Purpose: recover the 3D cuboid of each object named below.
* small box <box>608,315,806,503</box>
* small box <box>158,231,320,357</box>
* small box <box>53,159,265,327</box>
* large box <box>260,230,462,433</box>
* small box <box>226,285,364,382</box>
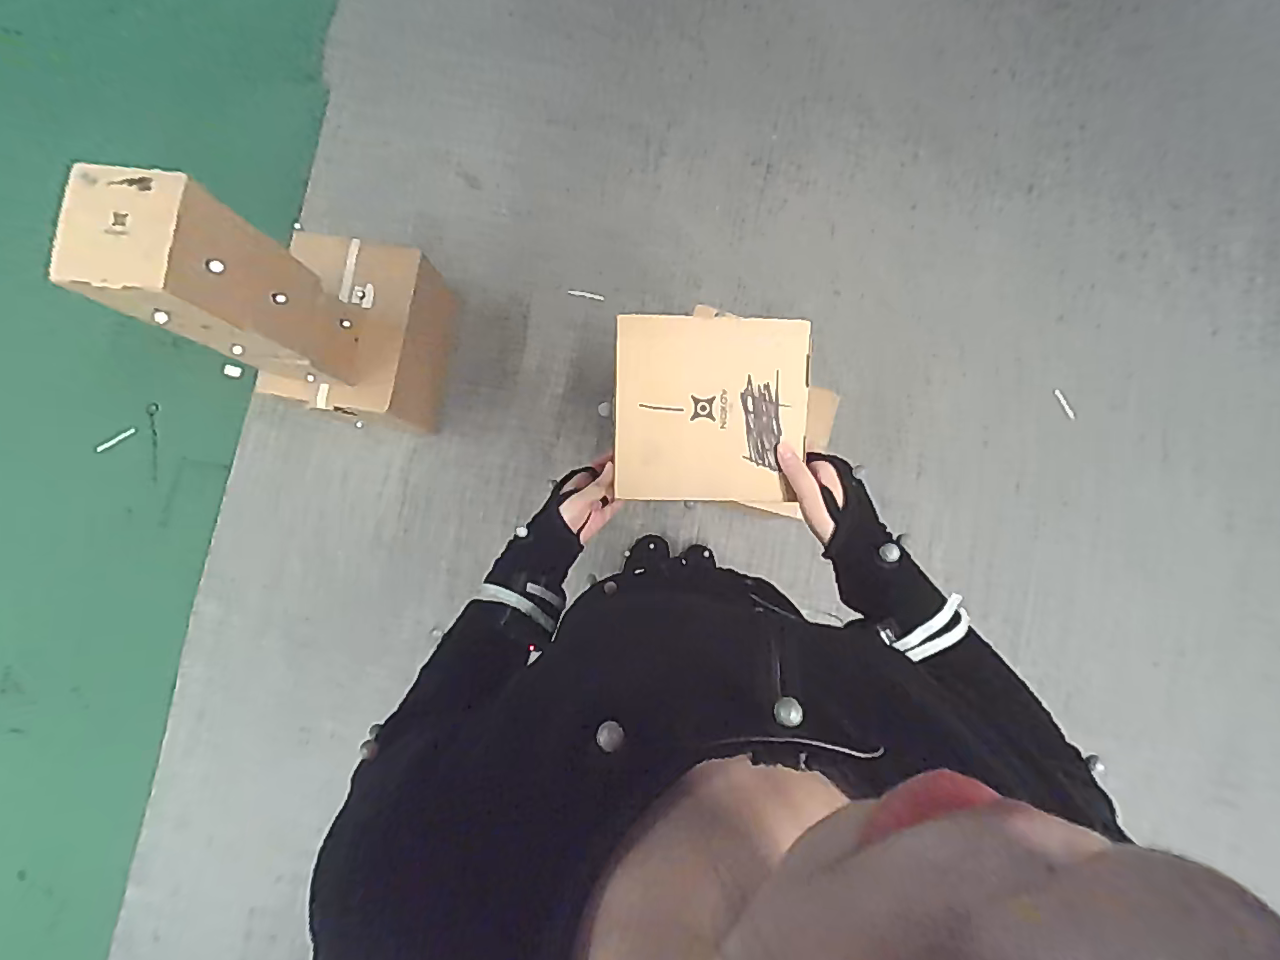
[{"bbox_3d":[0.056,-0.068,0.564,0.179,0.176,0.168,1,93,-2],"label":"small box"},{"bbox_3d":[-0.722,-0.337,0.994,0.168,0.176,0.179,5,84,0],"label":"small box"},{"bbox_3d":[-0.720,-0.350,0.830,0.168,0.176,0.179,7,85,0],"label":"small box"},{"bbox_3d":[-0.696,-0.361,1.405,0.320,0.320,0.408,10,84,0],"label":"large box"},{"bbox_3d":[-0.724,-0.316,1.157,0.179,0.176,0.168,9,84,1],"label":"small box"}]
